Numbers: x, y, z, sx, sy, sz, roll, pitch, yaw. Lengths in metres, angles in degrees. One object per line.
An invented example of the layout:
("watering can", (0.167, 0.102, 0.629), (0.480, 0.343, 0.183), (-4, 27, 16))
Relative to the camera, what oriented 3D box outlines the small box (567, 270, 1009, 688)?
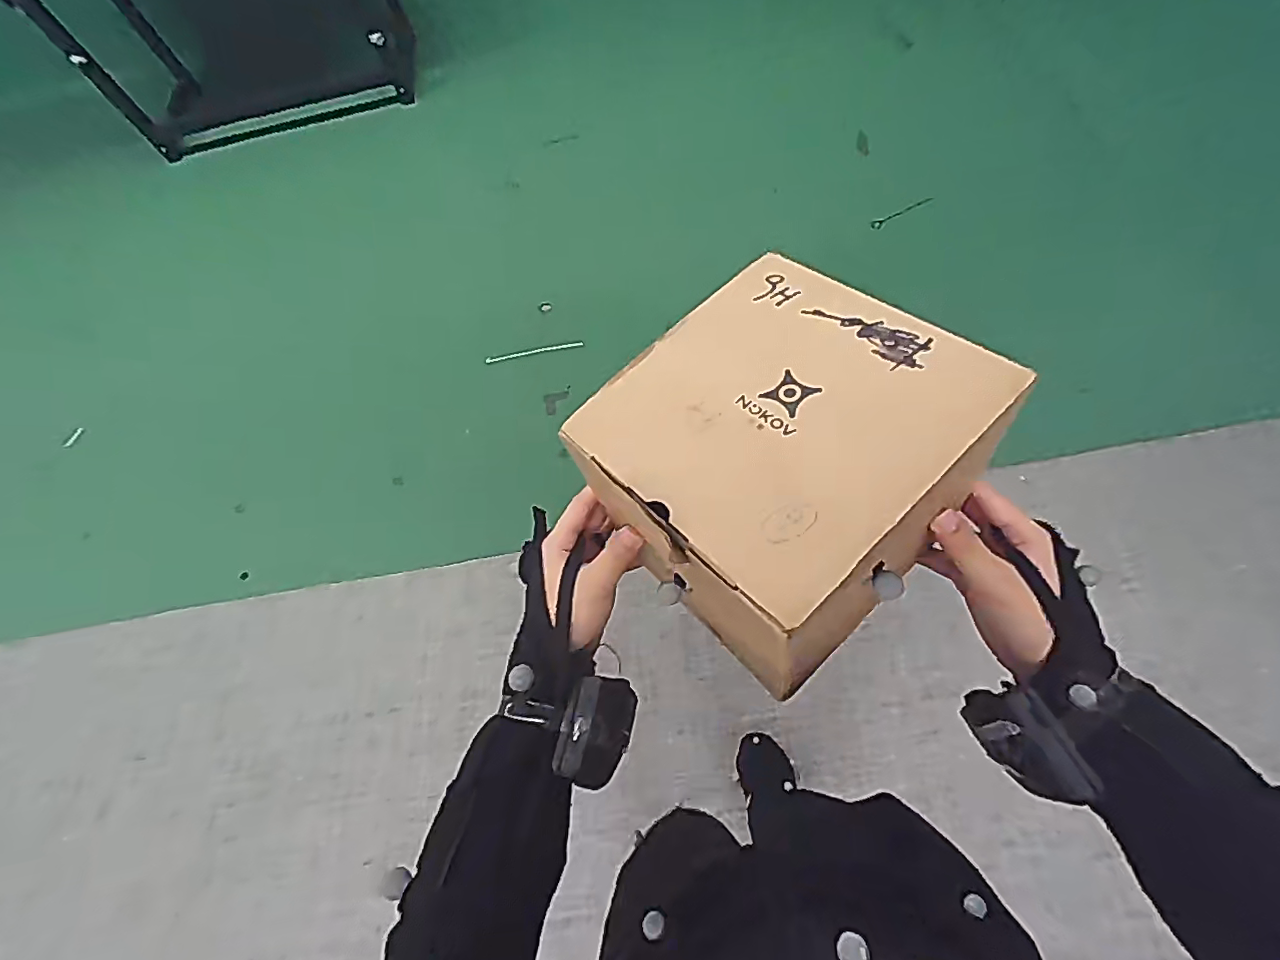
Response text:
("small box", (0.088, 0.006, 0.355), (0.179, 0.176, 0.168), (-41, 58, -12))
